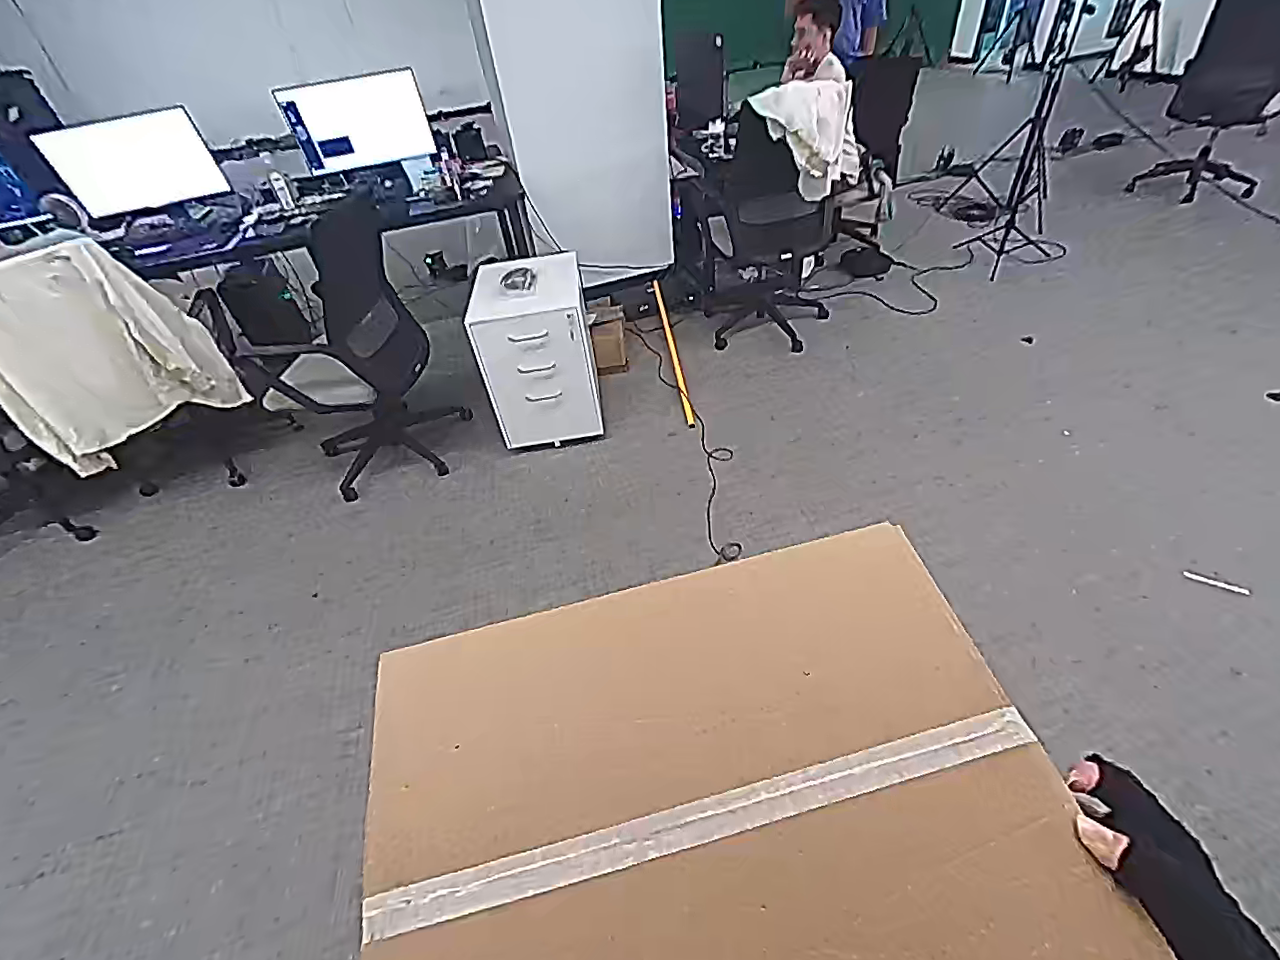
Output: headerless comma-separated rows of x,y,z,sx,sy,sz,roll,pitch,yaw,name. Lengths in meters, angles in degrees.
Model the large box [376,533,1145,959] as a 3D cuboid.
0.055,0.294,0.448,0.408,0.320,0.320,-14,52,-4,large box
